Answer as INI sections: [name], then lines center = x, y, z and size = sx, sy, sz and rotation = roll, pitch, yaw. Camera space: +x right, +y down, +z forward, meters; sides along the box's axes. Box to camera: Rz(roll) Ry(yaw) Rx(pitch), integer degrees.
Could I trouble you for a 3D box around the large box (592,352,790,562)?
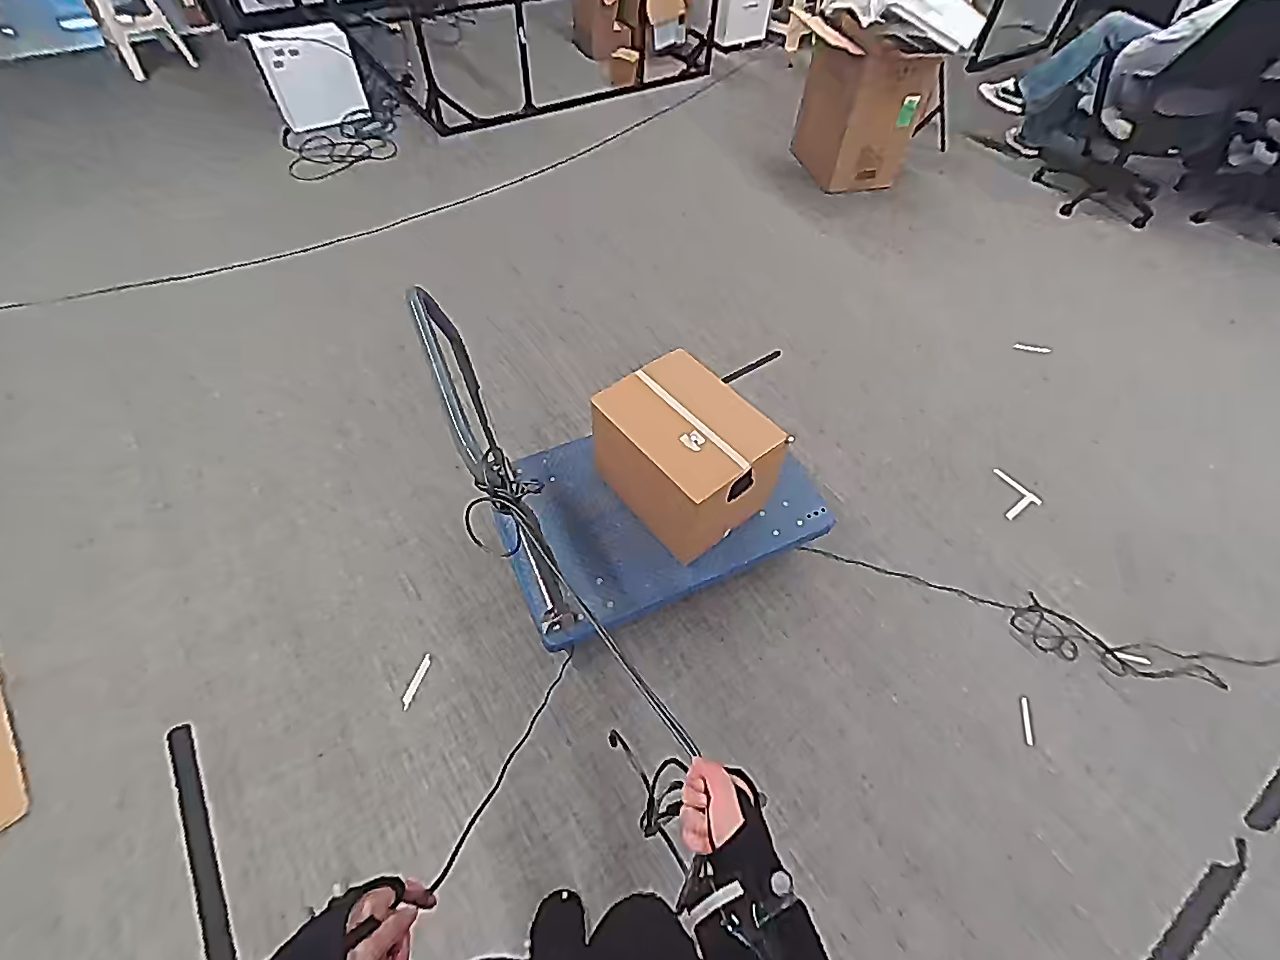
[large box]
center = 0.113, -0.064, 1.447
size = 0.320, 0.320, 0.408
rotation = -34, 63, -22
